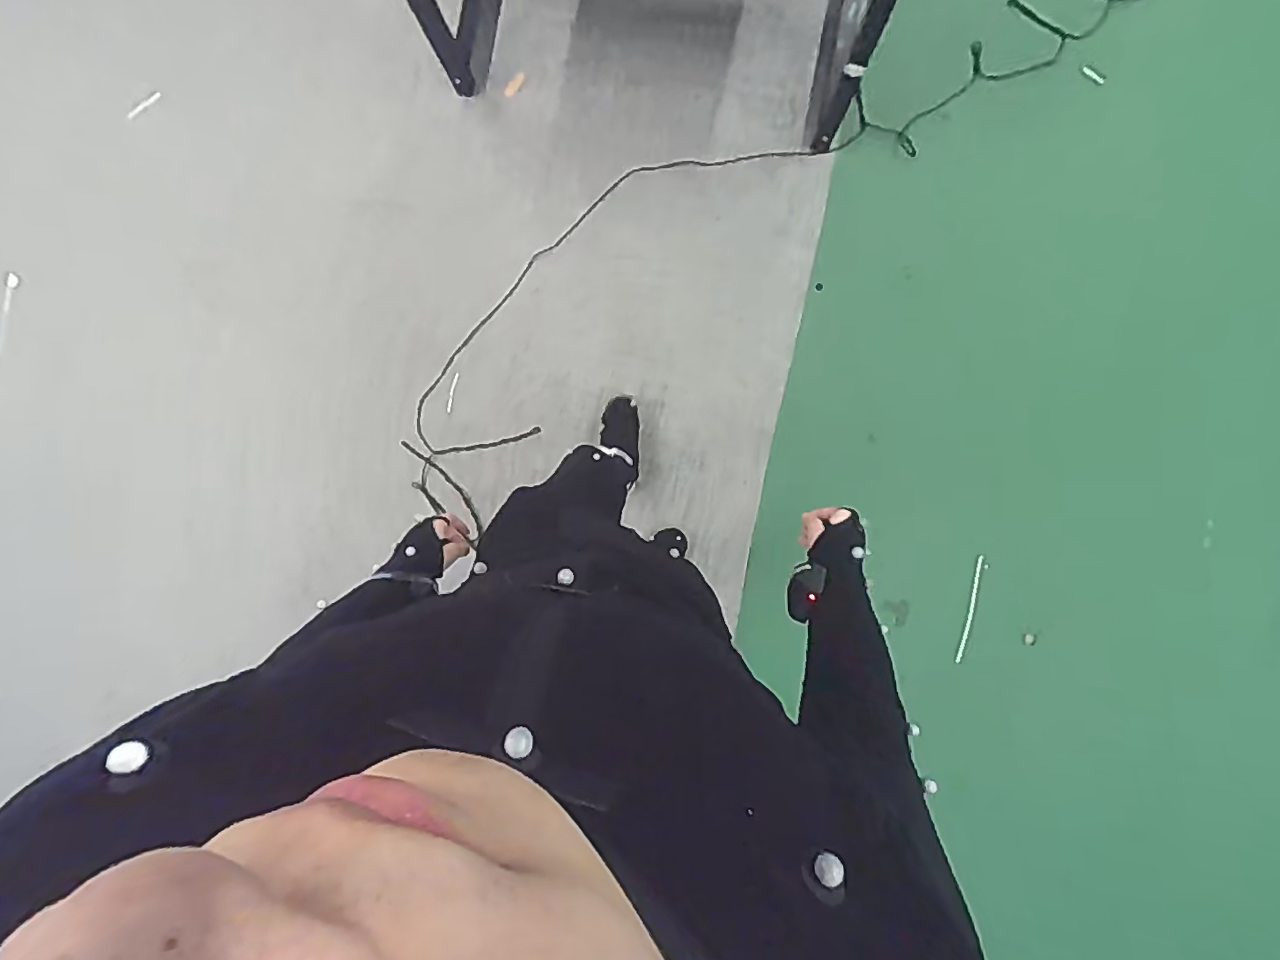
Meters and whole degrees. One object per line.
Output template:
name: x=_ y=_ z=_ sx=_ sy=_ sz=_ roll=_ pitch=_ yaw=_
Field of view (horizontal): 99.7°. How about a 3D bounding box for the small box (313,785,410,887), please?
small box: x=-0.801 y=1.024 z=1.572 sx=0.179 sy=0.176 sz=0.168 roll=14 pitch=89 yaw=3
